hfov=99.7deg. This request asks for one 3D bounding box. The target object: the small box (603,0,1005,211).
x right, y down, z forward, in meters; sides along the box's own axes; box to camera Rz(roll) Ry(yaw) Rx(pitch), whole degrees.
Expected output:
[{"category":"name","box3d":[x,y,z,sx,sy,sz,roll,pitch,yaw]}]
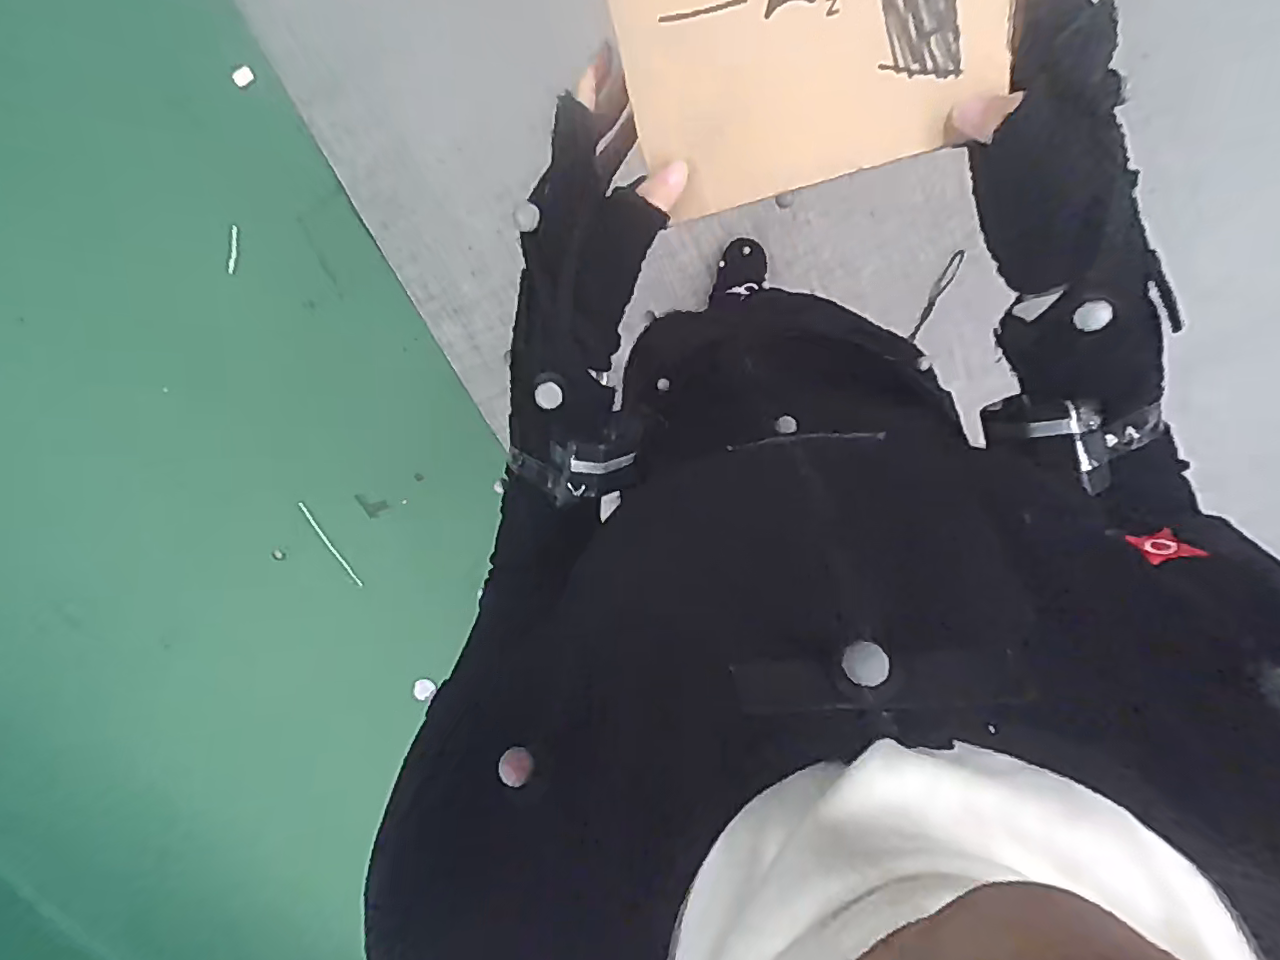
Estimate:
[{"category":"small box","box3d":[0.073,-0.270,0.303,0.179,0.176,0.168,-11,120,11]}]
